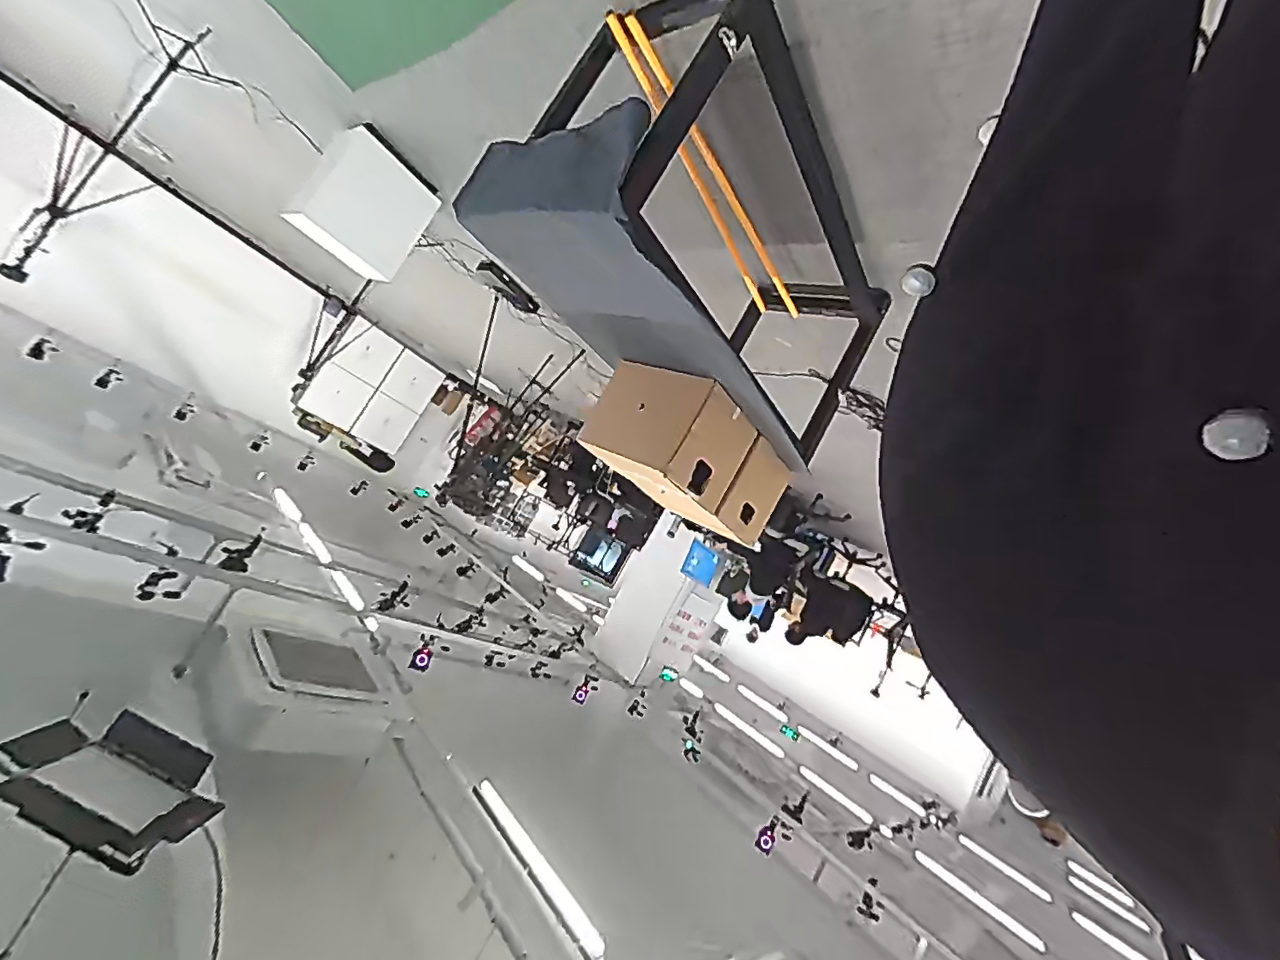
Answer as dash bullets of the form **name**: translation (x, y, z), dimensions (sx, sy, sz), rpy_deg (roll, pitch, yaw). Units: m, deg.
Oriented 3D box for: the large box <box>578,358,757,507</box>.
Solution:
- **large box**: translation (0.087, -0.161, 1.716), dimensions (0.408, 0.320, 0.320), rpy_deg (22, 170, 43)
